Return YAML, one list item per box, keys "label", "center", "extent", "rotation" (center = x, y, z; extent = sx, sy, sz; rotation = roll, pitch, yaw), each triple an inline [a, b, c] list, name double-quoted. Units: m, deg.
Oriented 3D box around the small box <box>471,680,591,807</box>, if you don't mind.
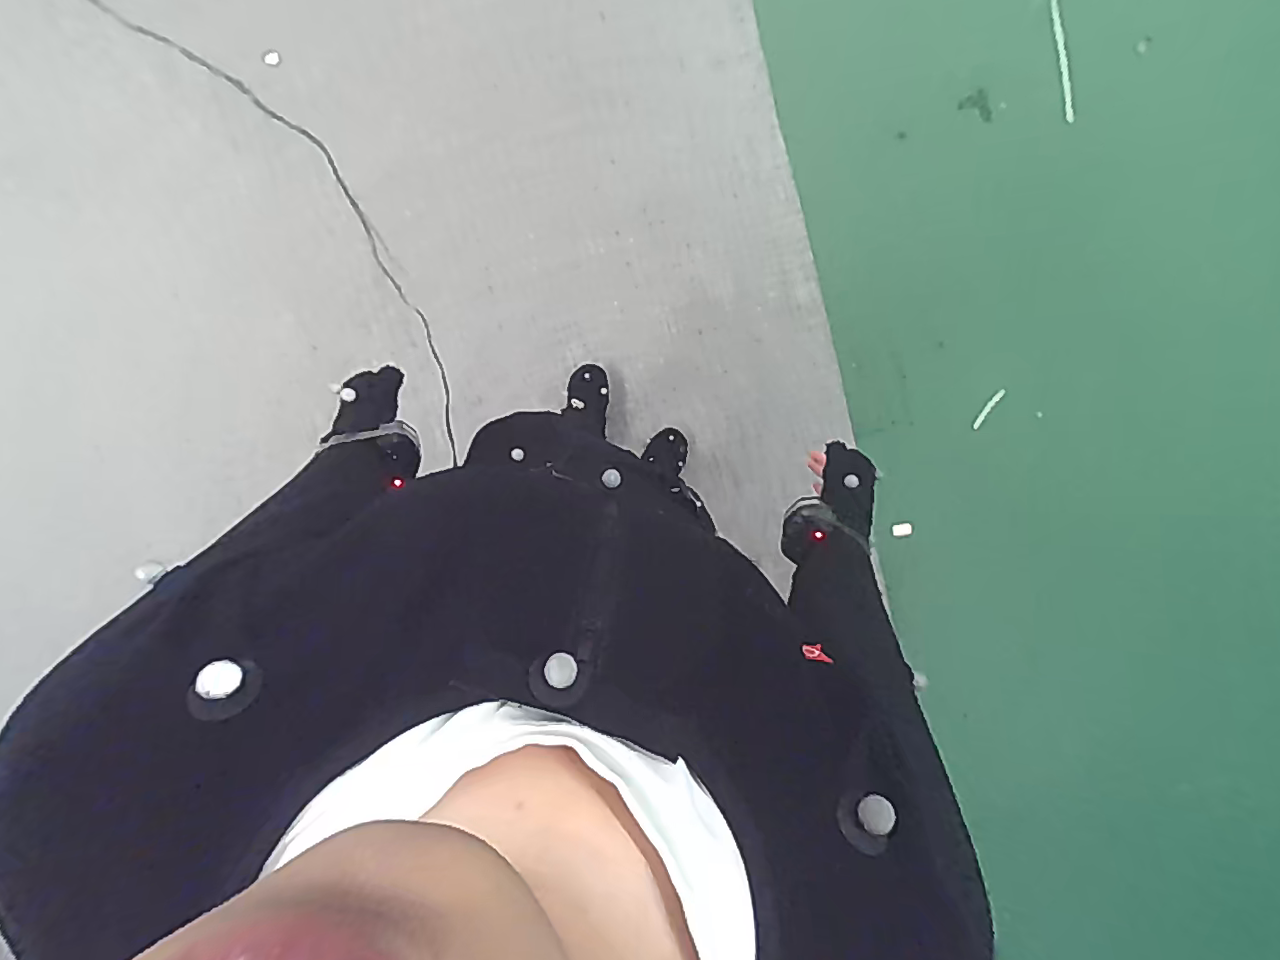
- label: "small box"
  center: [-0.203, 0.512, 1.053]
  extent: [0.168, 0.176, 0.179]
  rotation: [-13, 100, 7]
